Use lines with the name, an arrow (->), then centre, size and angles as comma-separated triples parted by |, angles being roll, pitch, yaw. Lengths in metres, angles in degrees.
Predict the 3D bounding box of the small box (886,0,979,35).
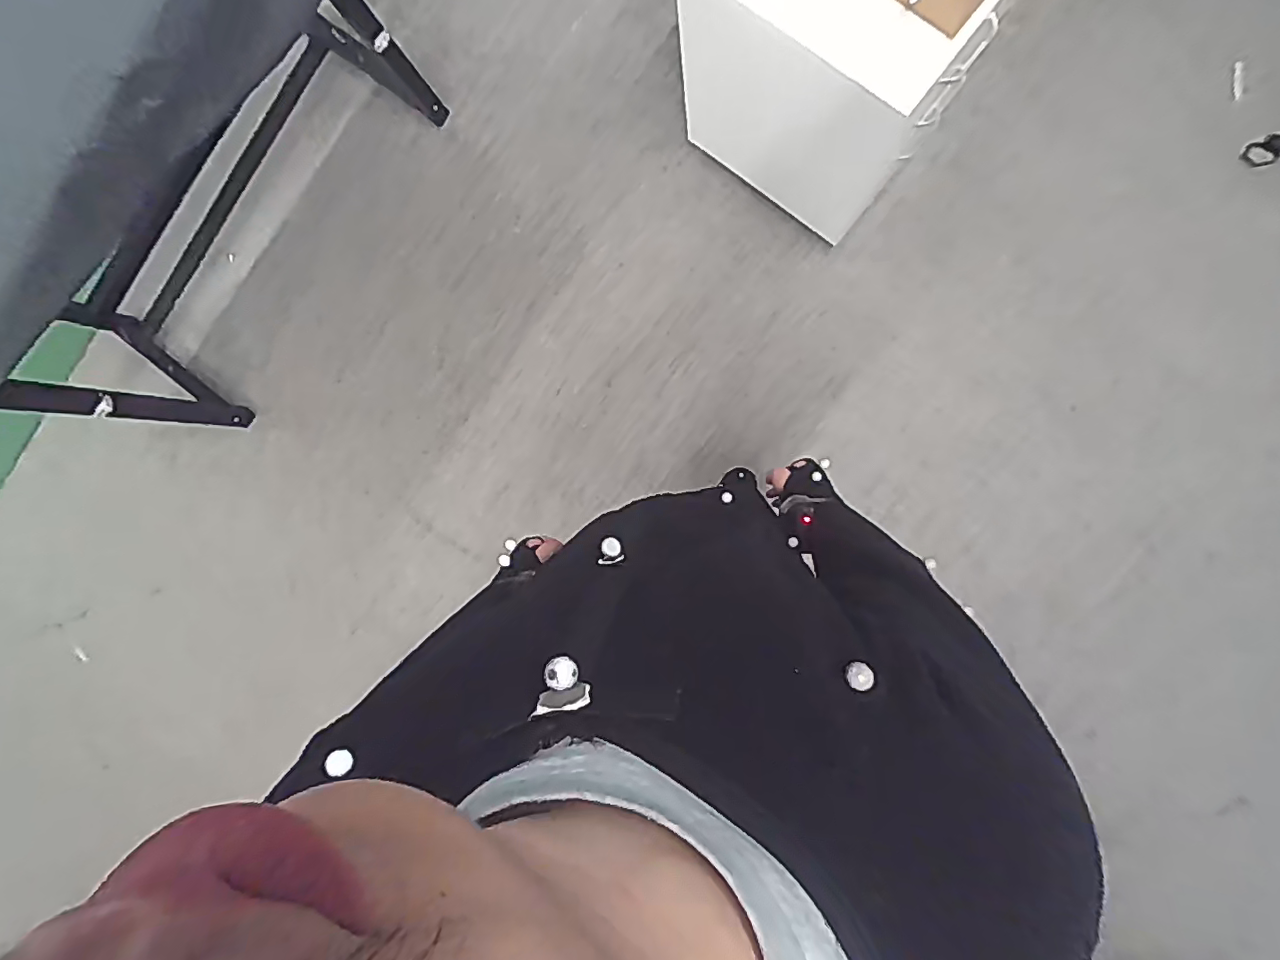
small box -> 0.482, -0.833, 0.814 | 0.179, 0.176, 0.168 | 40, 95, 4
